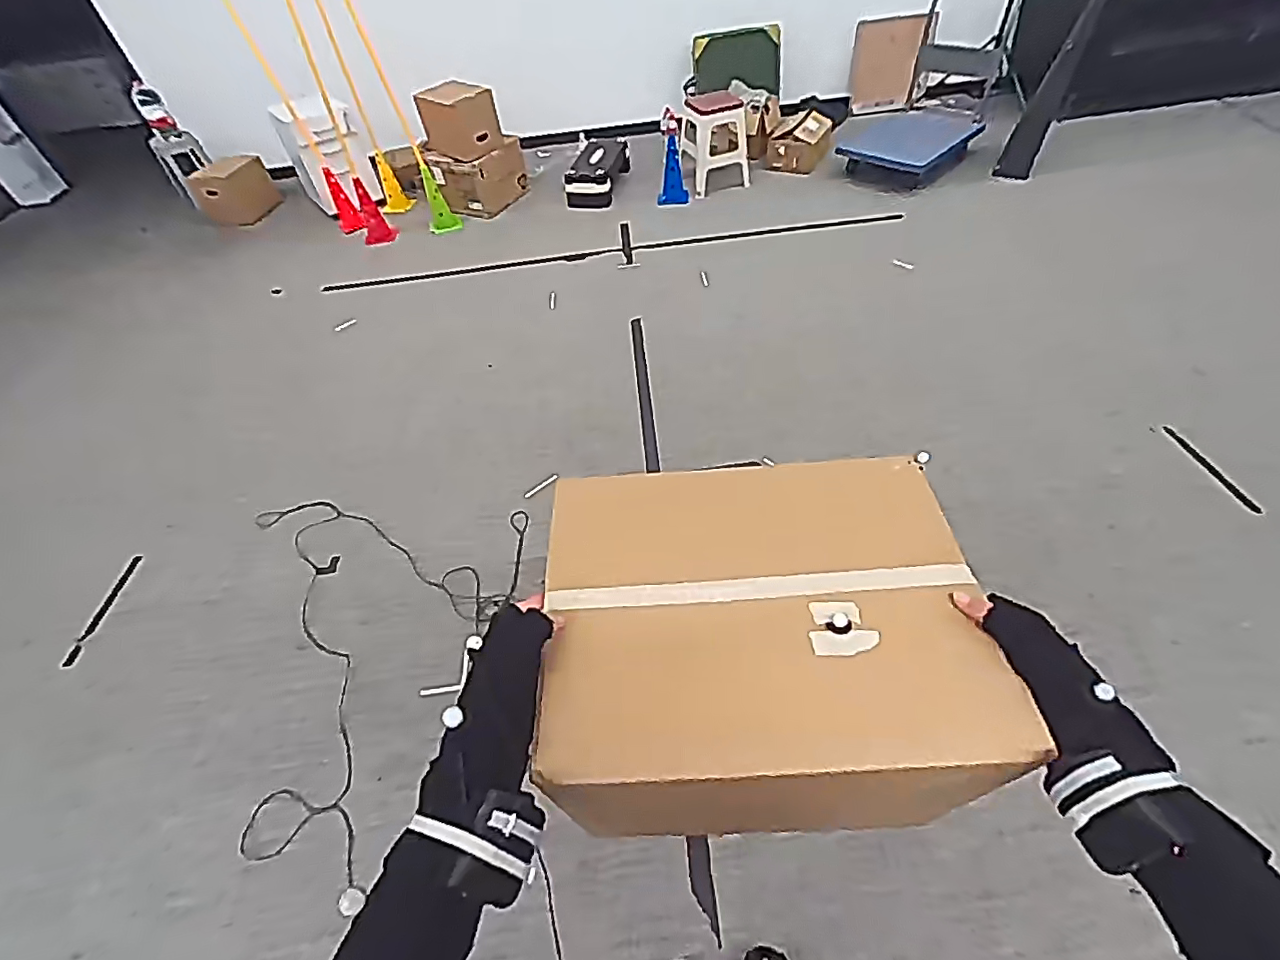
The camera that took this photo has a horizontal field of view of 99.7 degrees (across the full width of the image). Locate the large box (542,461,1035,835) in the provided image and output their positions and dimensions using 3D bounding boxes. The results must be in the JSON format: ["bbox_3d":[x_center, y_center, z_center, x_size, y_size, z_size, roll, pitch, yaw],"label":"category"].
[{"bbox_3d":[0.121,0.206,0.639,0.408,0.320,0.320,-4,50,2],"label":"large box"}]
